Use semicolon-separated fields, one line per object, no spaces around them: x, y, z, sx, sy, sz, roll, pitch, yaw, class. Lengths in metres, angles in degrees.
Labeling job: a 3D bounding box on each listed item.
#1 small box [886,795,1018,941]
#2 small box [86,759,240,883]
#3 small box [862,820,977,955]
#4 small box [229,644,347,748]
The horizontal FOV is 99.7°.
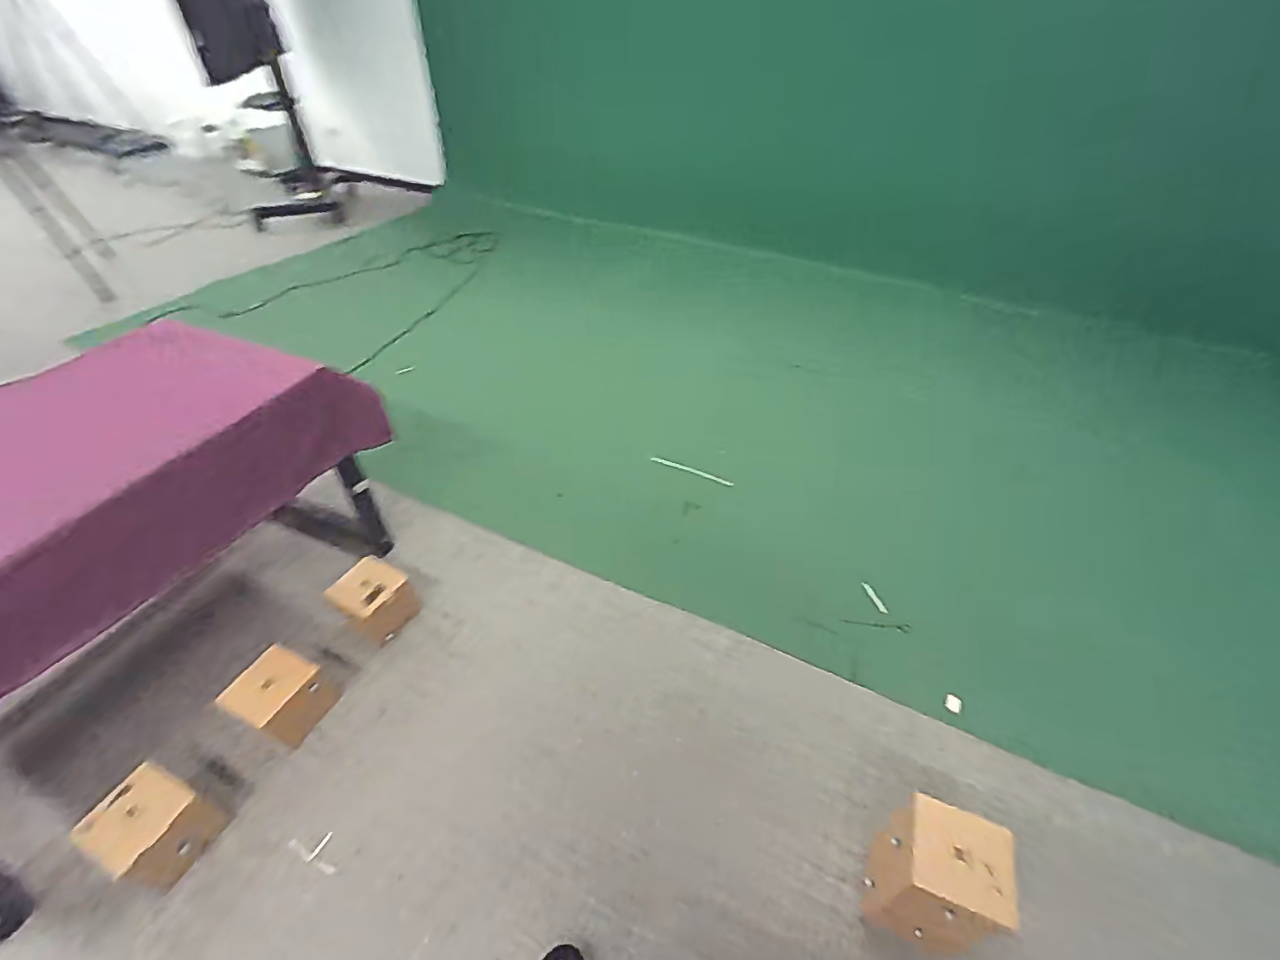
0.599;0.759;1.055;0.179;0.176;0.168;17;47;16;small box
-1.071;0.779;1.231;0.179;0.176;0.168;19;45;17;small box
0.598;0.882;1.165;0.179;0.176;0.168;19;46;17;small box
-0.931;0.582;1.449;0.168;0.176;0.179;18;45;17;small box
